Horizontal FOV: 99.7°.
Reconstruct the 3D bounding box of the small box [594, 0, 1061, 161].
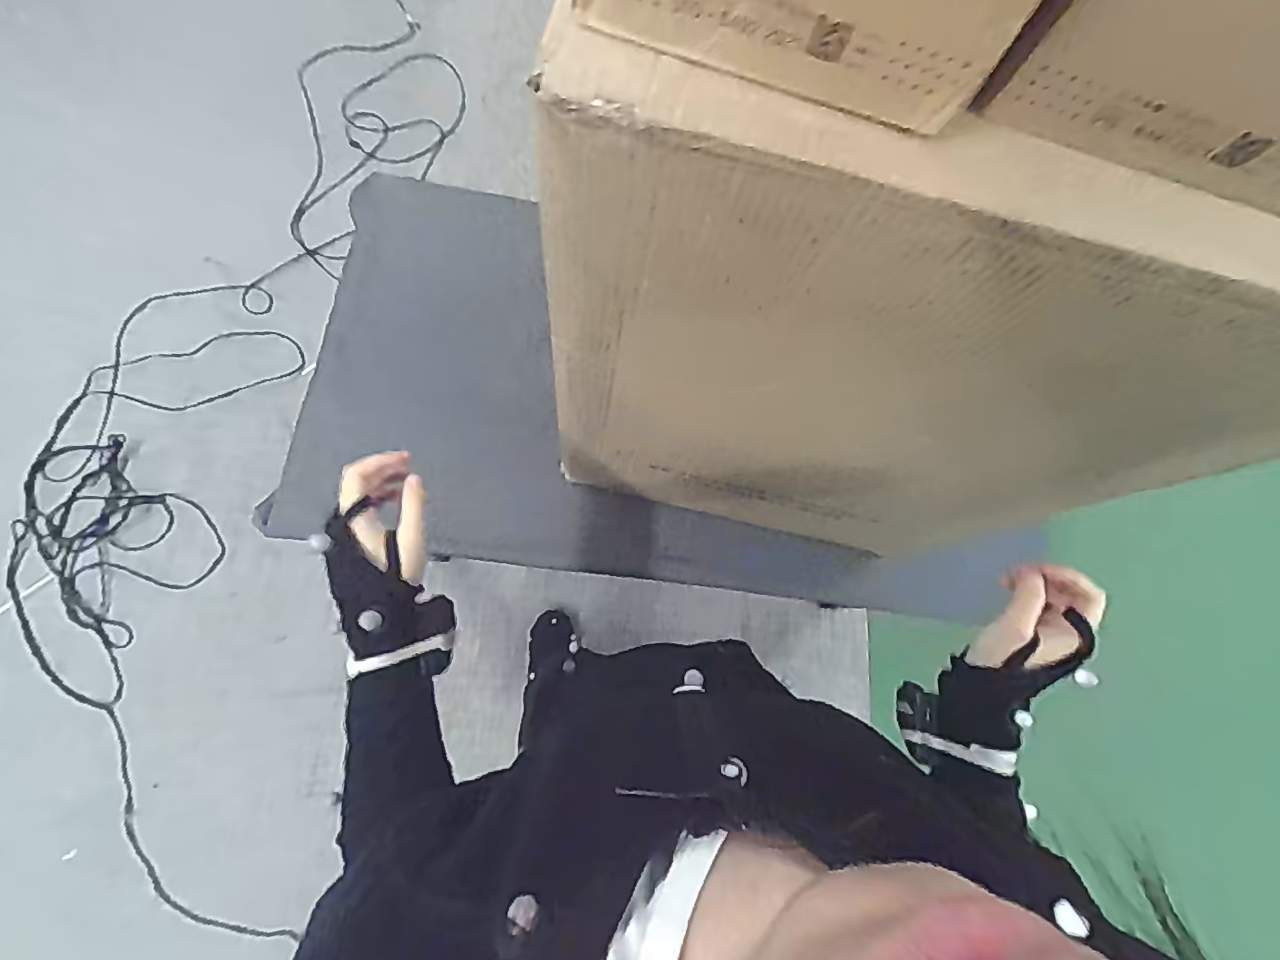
[{"bbox_3d":[0.083,-0.259,0.181,0.168,0.176,0.179,16,77,-2],"label":"small box"}]
